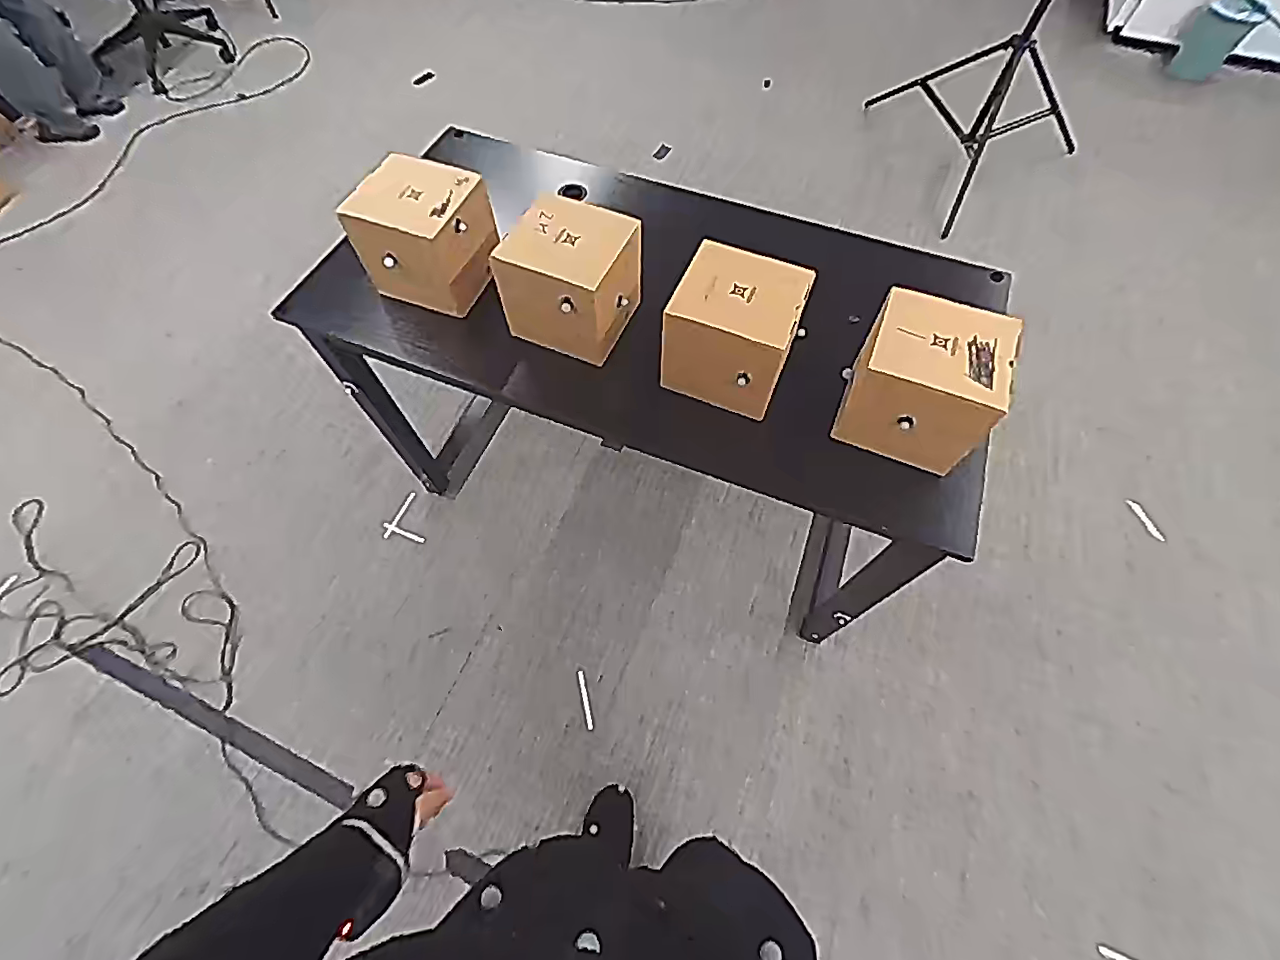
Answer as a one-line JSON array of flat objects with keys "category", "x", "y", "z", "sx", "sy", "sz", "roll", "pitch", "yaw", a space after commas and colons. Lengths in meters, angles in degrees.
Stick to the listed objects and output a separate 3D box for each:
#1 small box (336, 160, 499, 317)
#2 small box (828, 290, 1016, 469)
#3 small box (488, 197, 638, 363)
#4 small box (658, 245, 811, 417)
[{"category": "small box", "x": -0.366, "y": -0.410, "z": 0.932, "sx": 0.179, "sy": 0.176, "sz": 0.168, "roll": 18, "pitch": 64, "yaw": 9}, {"category": "small box", "x": 0.400, "y": -0.138, "z": 0.787, "sx": 0.179, "sy": 0.176, "sz": 0.168, "roll": 21, "pitch": 64, "yaw": 12}, {"category": "small box", "x": -0.113, "y": -0.319, "z": 0.883, "sx": 0.179, "sy": 0.176, "sz": 0.168, "roll": 21, "pitch": 64, "yaw": 11}, {"category": "small box", "x": 0.137, "y": -0.221, "z": 0.834, "sx": 0.179, "sy": 0.176, "sz": 0.168, "roll": 20, "pitch": 62, "yaw": 10}]
